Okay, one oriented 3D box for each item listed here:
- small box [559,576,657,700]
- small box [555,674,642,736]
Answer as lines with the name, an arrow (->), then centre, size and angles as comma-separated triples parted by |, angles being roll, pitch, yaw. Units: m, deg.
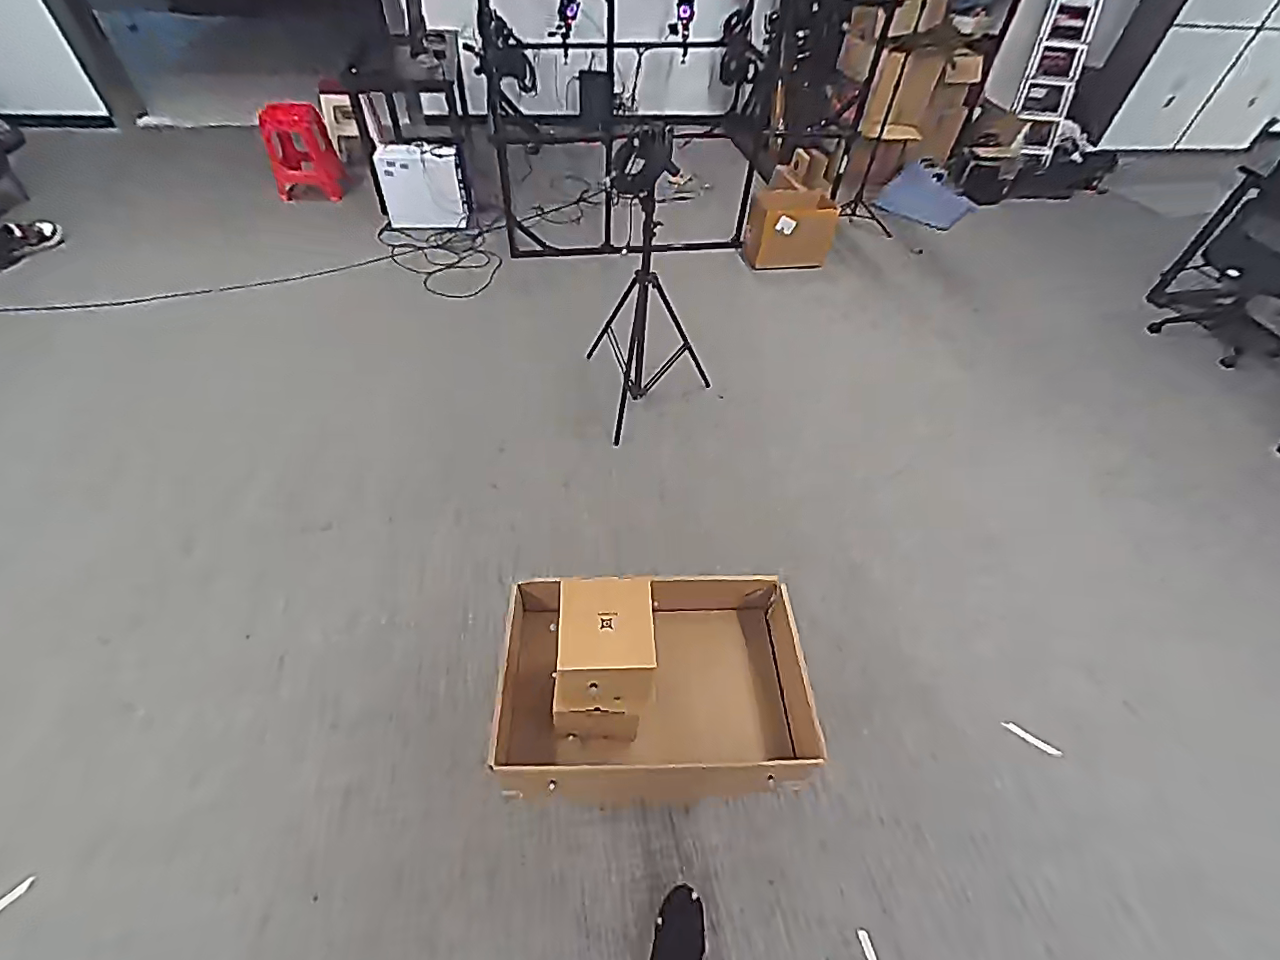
small box -> -0.059, 0.296, 1.001 | 0.168, 0.176, 0.179 | 0, 47, -5
small box -> -0.078, 0.413, 1.114 | 0.168, 0.176, 0.179 | 3, 47, -2
